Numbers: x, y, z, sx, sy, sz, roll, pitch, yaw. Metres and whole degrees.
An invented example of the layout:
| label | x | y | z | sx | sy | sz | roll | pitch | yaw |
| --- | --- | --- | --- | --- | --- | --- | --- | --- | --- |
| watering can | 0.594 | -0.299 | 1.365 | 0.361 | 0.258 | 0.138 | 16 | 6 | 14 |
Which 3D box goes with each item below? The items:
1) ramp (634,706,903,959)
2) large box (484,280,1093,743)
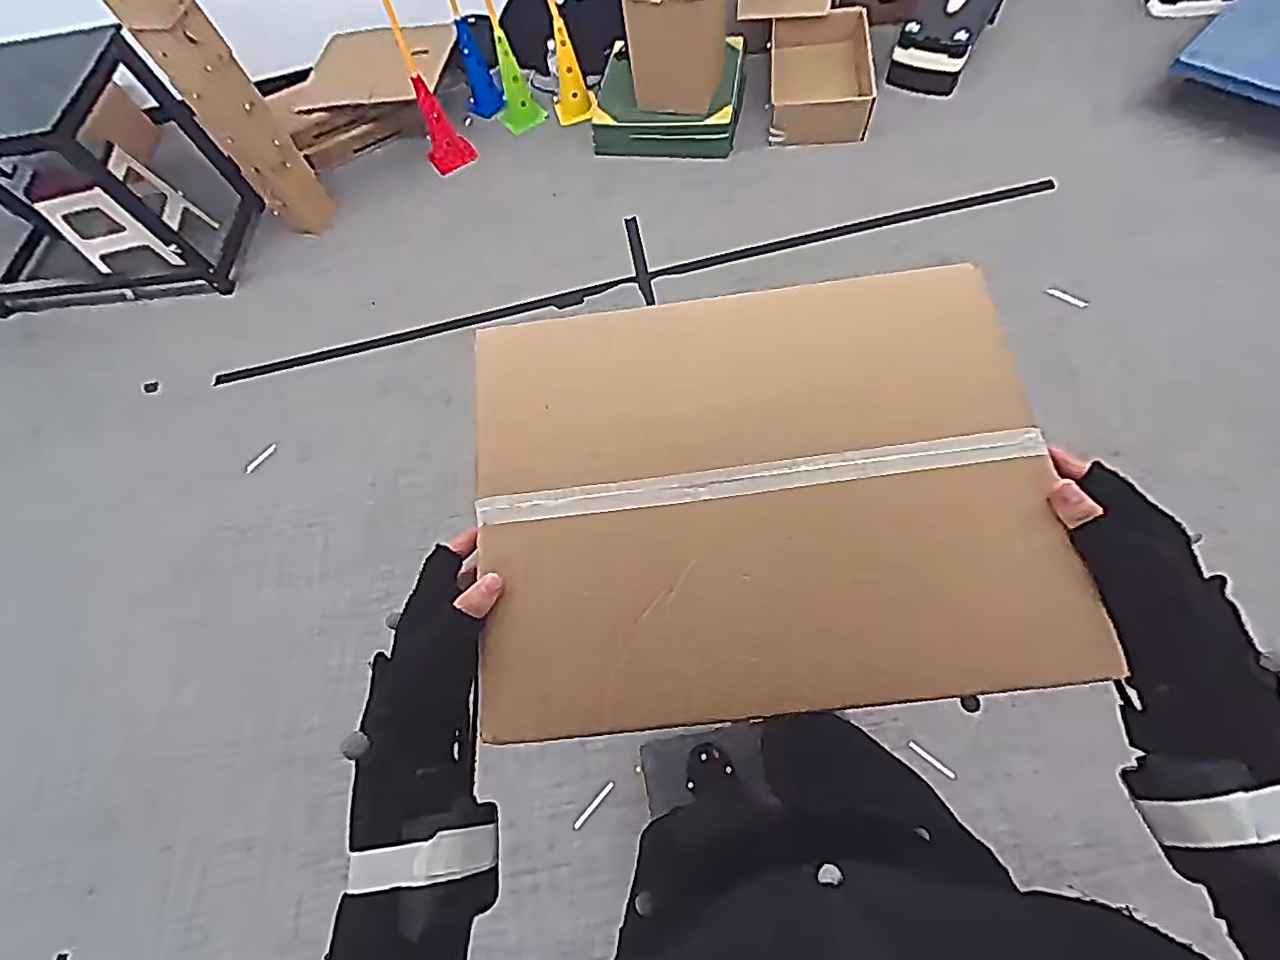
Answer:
| label | x | y | z | sx | sy | sz | roll | pitch | yaw |
| --- | --- | --- | --- | --- | --- | --- | --- | --- | --- |
| ramp | 0.316 | 1.040 | 1.158 | 0.509 | 0.206 | 0.991 | -13 | 66 | 0 |
| large box | 0.094 | 0.050 | 0.541 | 0.408 | 0.320 | 0.320 | -7 | 71 | 2 |
